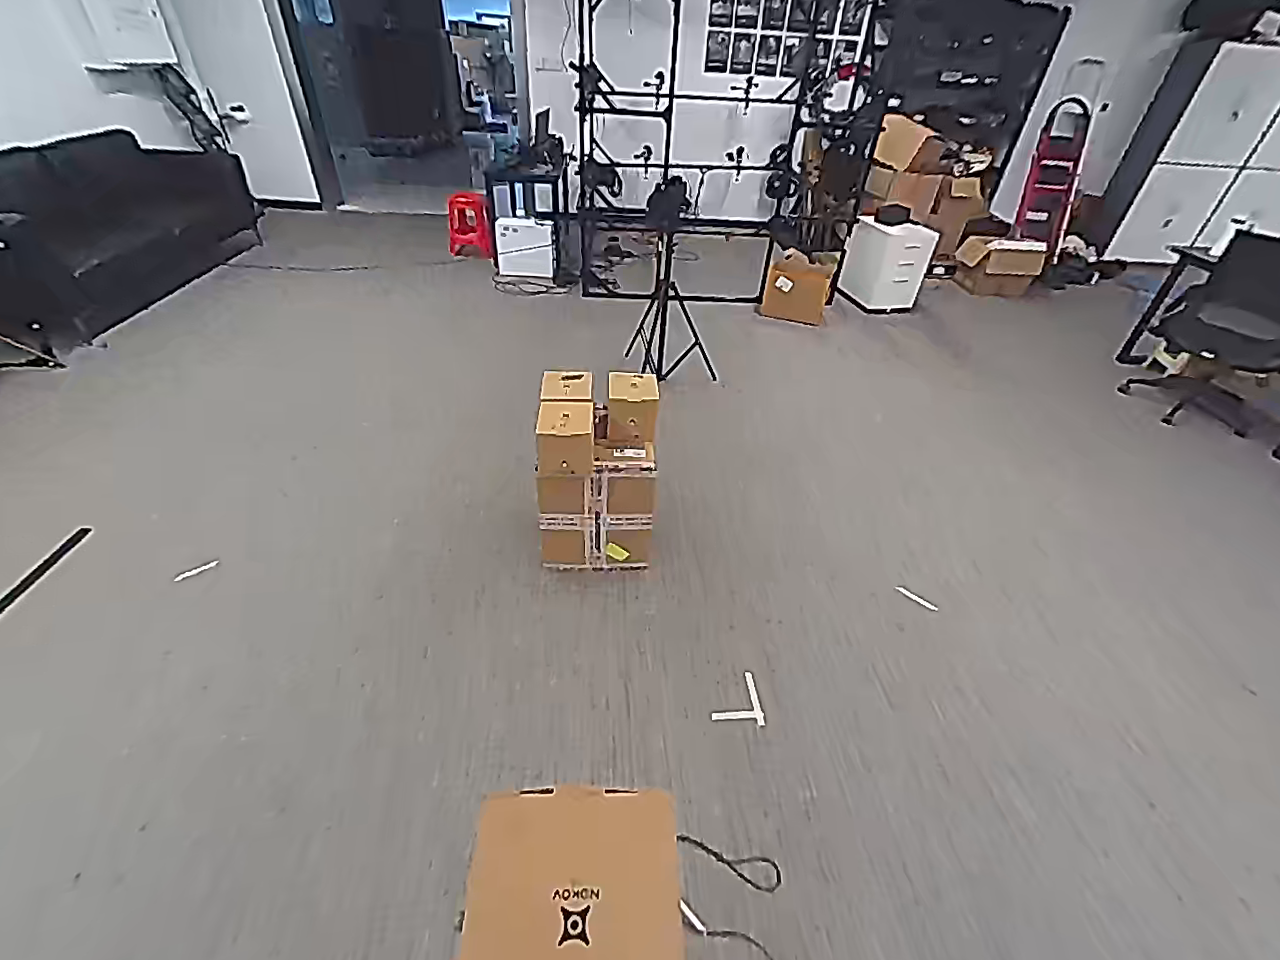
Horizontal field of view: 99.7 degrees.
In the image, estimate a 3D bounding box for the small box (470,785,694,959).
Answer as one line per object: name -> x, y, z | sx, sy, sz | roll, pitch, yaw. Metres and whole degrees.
small box -> -0.050, 0.384, 0.466 | 0.168, 0.176, 0.179 | 2, 46, -5
